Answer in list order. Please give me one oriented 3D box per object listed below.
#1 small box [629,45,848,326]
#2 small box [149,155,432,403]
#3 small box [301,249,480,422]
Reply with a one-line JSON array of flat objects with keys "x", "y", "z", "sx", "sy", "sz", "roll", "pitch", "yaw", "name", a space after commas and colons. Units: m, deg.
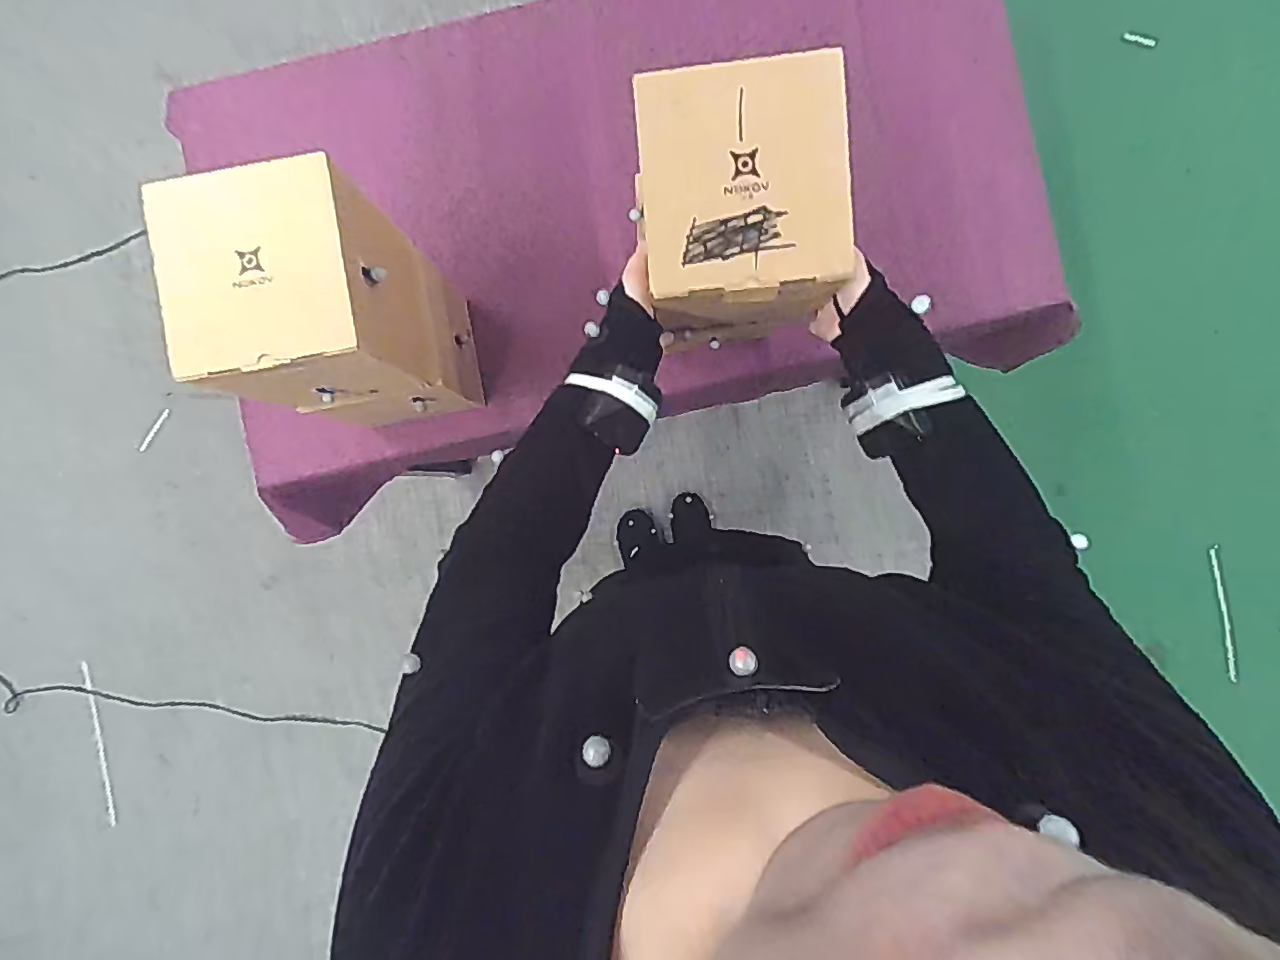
[{"x": 0.085, "y": -0.247, "z": 0.506, "sx": 0.168, "sy": 0.176, "sz": 0.179, "roll": -4, "pitch": 94, "yaw": 5, "name": "small box"}, {"x": -0.335, "y": -0.186, "z": 0.552, "sx": 0.168, "sy": 0.176, "sz": 0.179, "roll": -10, "pitch": 90, "yaw": 2, "name": "small box"}, {"x": -0.324, "y": -0.177, "z": 0.714, "sx": 0.179, "sy": 0.176, "sz": 0.168, "roll": -10, "pitch": 89, "yaw": 2, "name": "small box"}]
